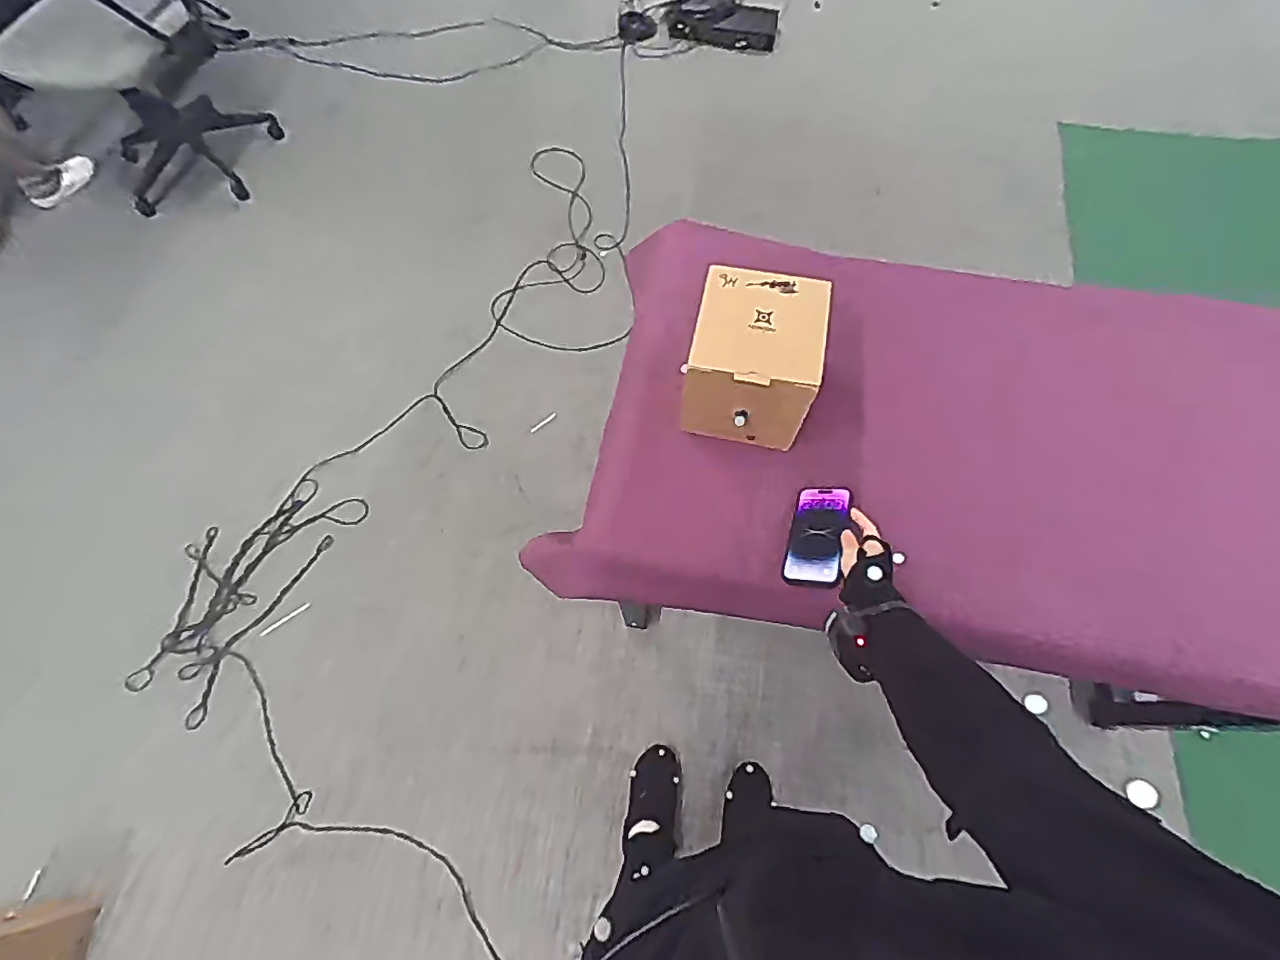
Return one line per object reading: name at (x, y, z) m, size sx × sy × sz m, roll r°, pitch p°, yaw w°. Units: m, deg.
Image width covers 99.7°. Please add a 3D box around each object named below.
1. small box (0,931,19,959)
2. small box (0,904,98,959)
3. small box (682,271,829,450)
small box at (-1.275, 0.926, 0.943) m, size 0.168 × 0.176 × 0.179 m, roll -1°, pitch 65°, yaw 1°
small box at (-1.280, 0.986, 1.095) m, size 0.179 × 0.176 × 0.168 m, roll 2°, pitch 65°, yaw 4°
small box at (0.157, -0.162, 0.771) m, size 0.168 × 0.176 × 0.179 m, roll 11°, pitch 67°, yaw 7°
